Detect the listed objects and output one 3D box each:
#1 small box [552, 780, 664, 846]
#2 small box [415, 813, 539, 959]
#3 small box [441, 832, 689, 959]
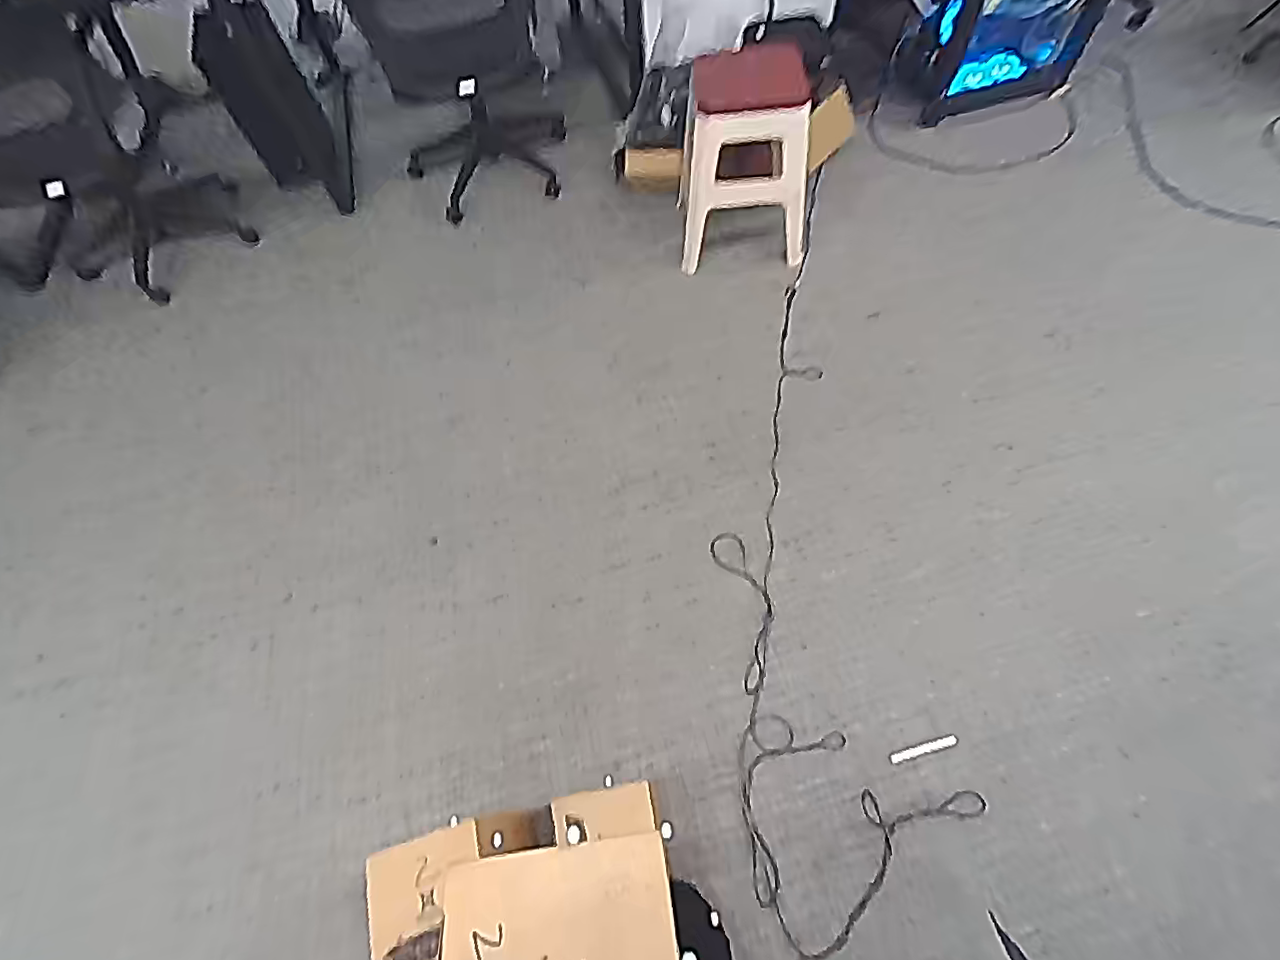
[{"bbox_3d":[-0.047,0.649,0.970,0.179,0.176,0.168,-11,61,-1],"label":"small box"},{"bbox_3d":[-0.271,0.717,0.957,0.168,0.176,0.179,-23,62,-7],"label":"small box"},{"bbox_3d":[-0.050,0.396,0.436,0.179,0.176,0.168,-7,52,-3],"label":"small box"}]
